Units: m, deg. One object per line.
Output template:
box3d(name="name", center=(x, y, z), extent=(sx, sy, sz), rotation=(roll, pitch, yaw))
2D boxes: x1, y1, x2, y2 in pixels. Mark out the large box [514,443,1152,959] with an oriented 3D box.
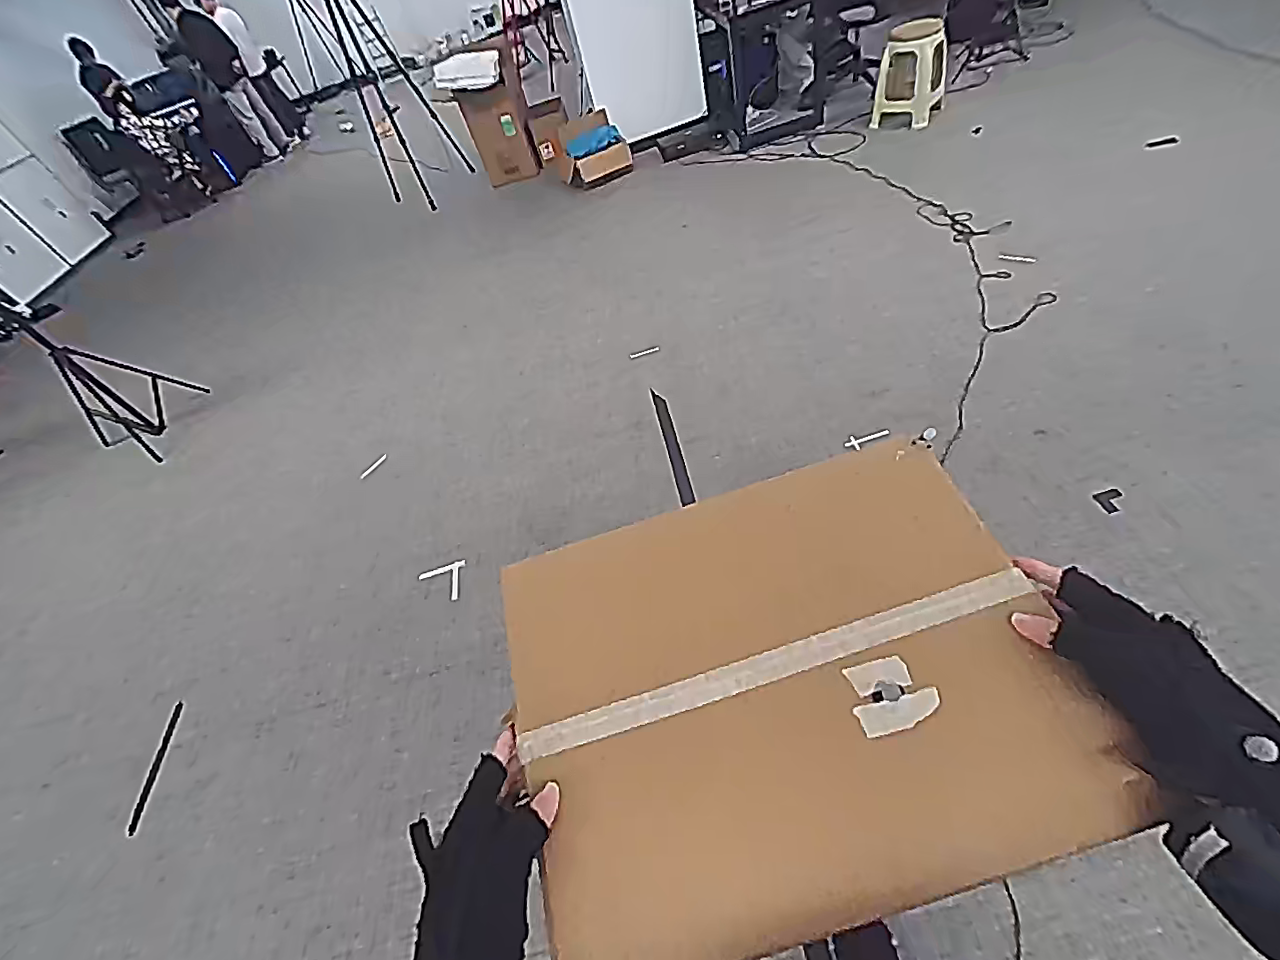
box3d(name="large box", center=(0.132, 0.226, 0.552), extent=(0.408, 0.320, 0.320), rotation=(-19, 56, 0))
